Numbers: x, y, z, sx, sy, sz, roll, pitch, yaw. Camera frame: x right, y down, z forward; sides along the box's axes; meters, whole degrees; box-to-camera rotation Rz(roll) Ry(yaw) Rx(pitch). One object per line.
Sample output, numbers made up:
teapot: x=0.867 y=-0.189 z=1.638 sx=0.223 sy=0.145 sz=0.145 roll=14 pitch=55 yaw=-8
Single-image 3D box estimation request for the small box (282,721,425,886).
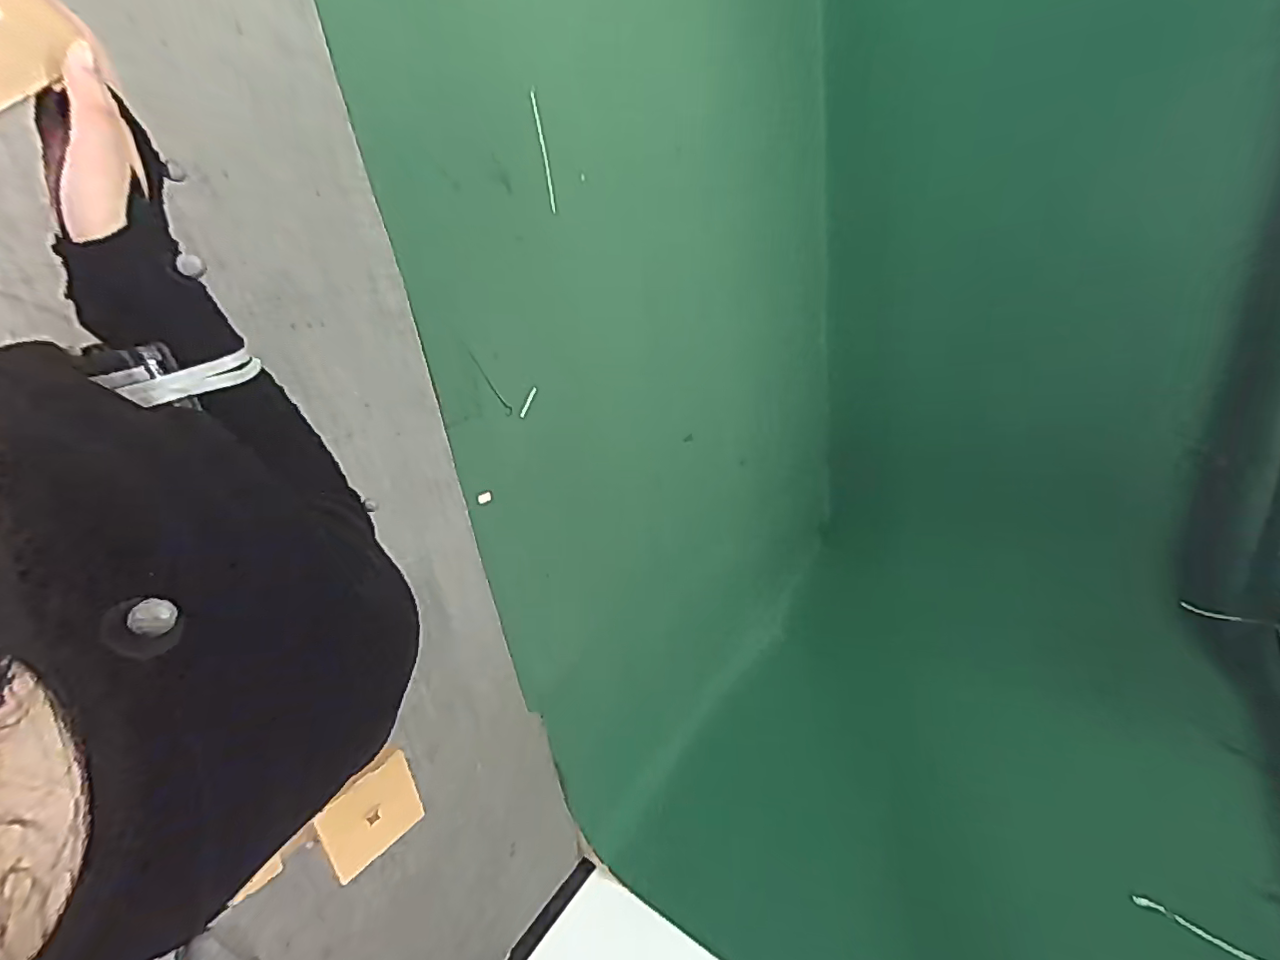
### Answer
small box: x=-0.544 y=0.602 z=1.031 sx=0.168 sy=0.176 sz=0.179 roll=-28 pitch=117 yaw=-45
